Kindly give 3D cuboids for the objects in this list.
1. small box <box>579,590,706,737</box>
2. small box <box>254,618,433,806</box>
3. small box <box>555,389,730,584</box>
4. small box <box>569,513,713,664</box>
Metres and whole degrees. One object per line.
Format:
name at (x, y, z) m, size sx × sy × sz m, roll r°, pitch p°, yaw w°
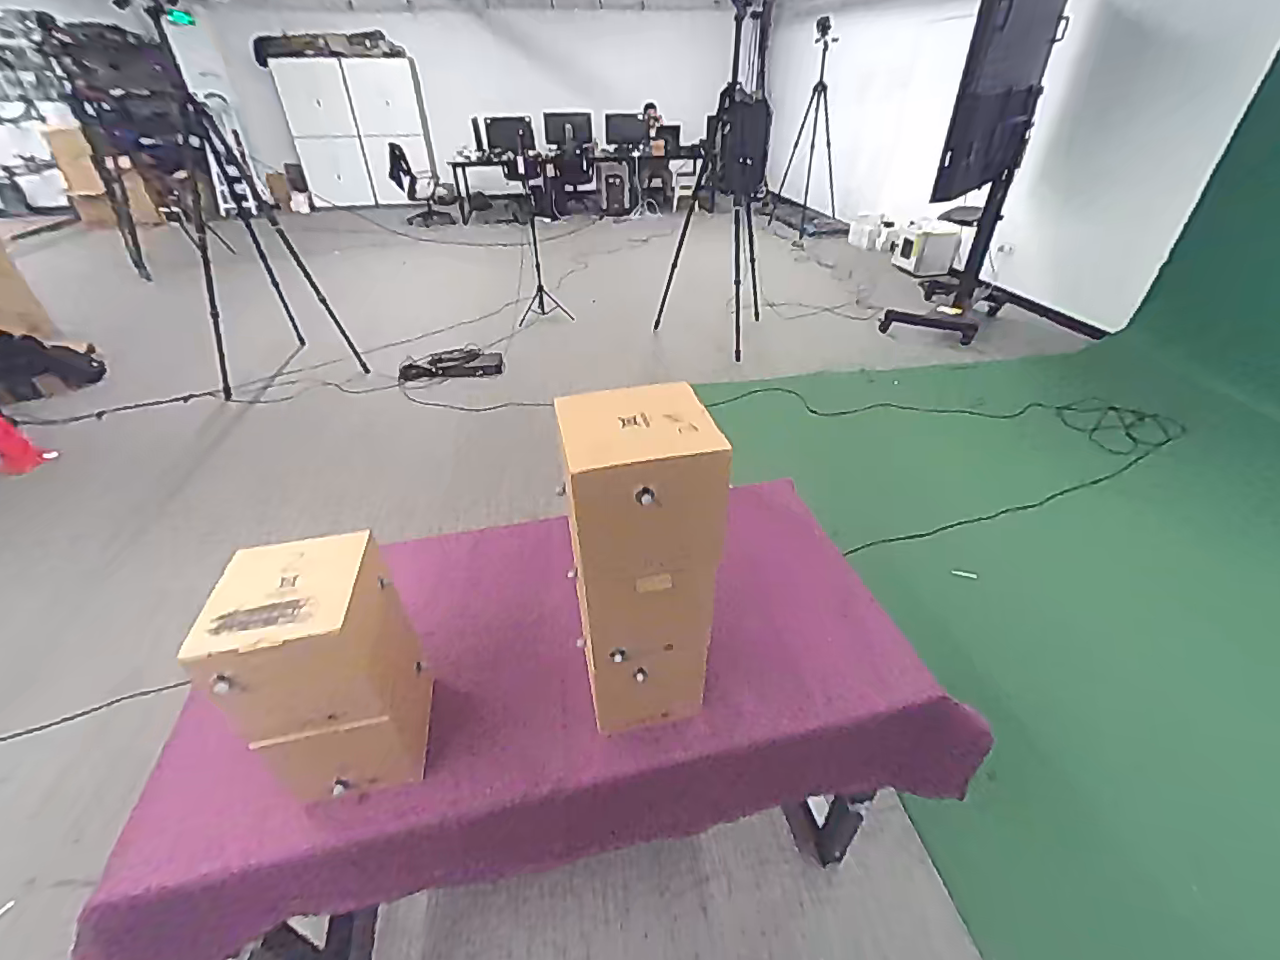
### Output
small box at (-0.001, 0.271, 0.860) m, size 0.168 × 0.176 × 0.179 m, roll -9°, pitch 36°, yaw -9°
small box at (-0.411, 0.334, 0.787) m, size 0.168 × 0.176 × 0.179 m, roll -8°, pitch 37°, yaw -8°
small box at (-0.002, 0.007, 0.664) m, size 0.179 × 0.176 × 0.168 m, roll -8°, pitch 38°, yaw -10°
small box at (-0.002, 0.138, 0.765) m, size 0.168 × 0.176 × 0.179 m, roll -9°, pitch 36°, yaw -10°
